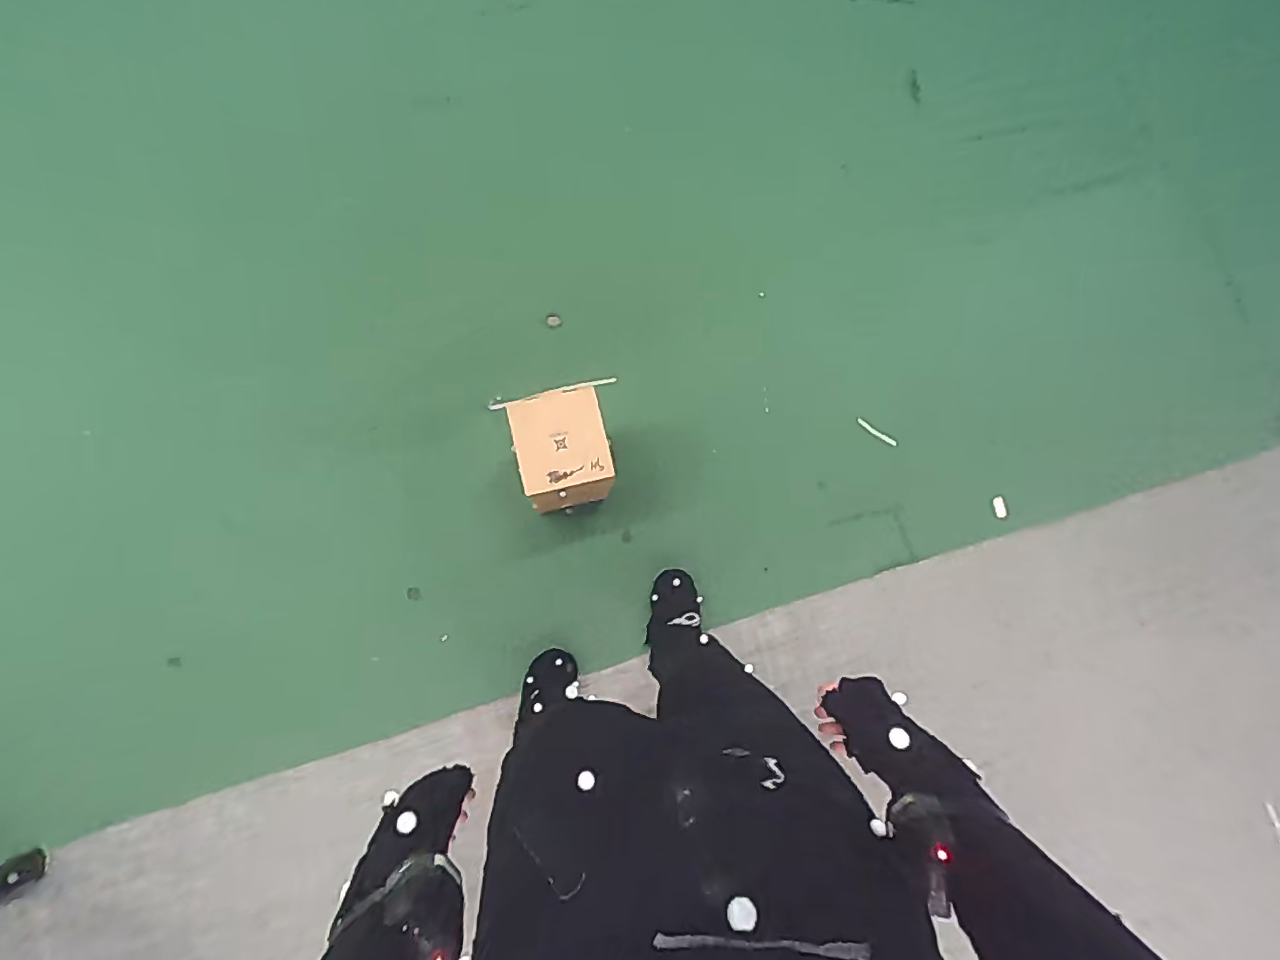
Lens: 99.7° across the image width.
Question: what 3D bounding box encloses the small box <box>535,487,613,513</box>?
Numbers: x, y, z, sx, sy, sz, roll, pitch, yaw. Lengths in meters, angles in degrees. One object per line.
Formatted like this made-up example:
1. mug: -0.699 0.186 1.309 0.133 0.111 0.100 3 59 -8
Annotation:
1. small box: -0.162 -0.031 1.220 0.168 0.176 0.179 -14 85 -7

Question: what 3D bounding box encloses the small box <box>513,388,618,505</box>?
1. small box: -0.145 -0.059 1.060 0.168 0.176 0.179 -13 82 -7
